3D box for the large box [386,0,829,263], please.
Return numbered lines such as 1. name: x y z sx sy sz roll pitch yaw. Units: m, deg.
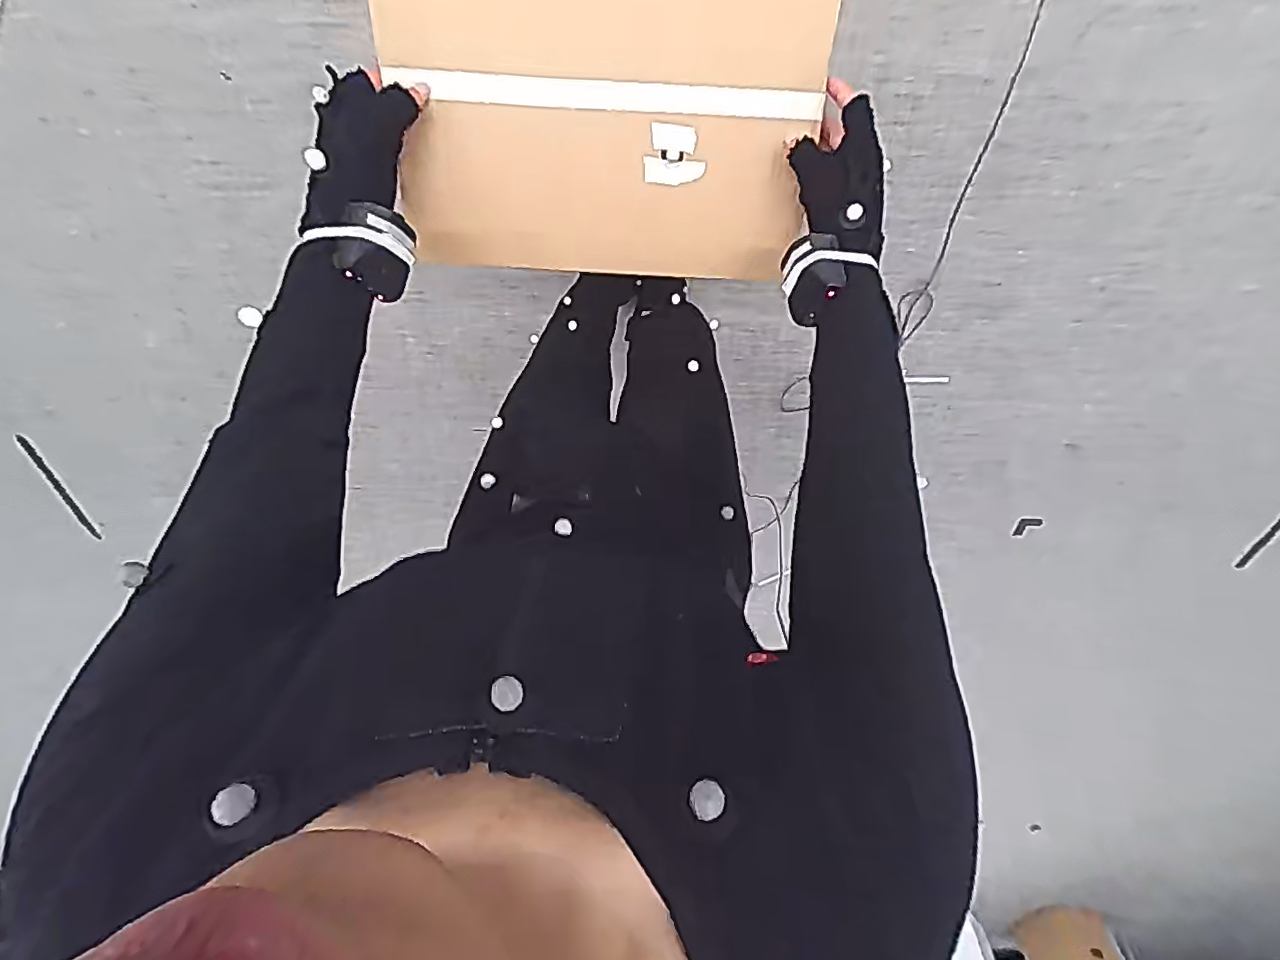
1. large box: -0.035 -0.451 0.642 0.408 0.320 0.320 1 122 -2
